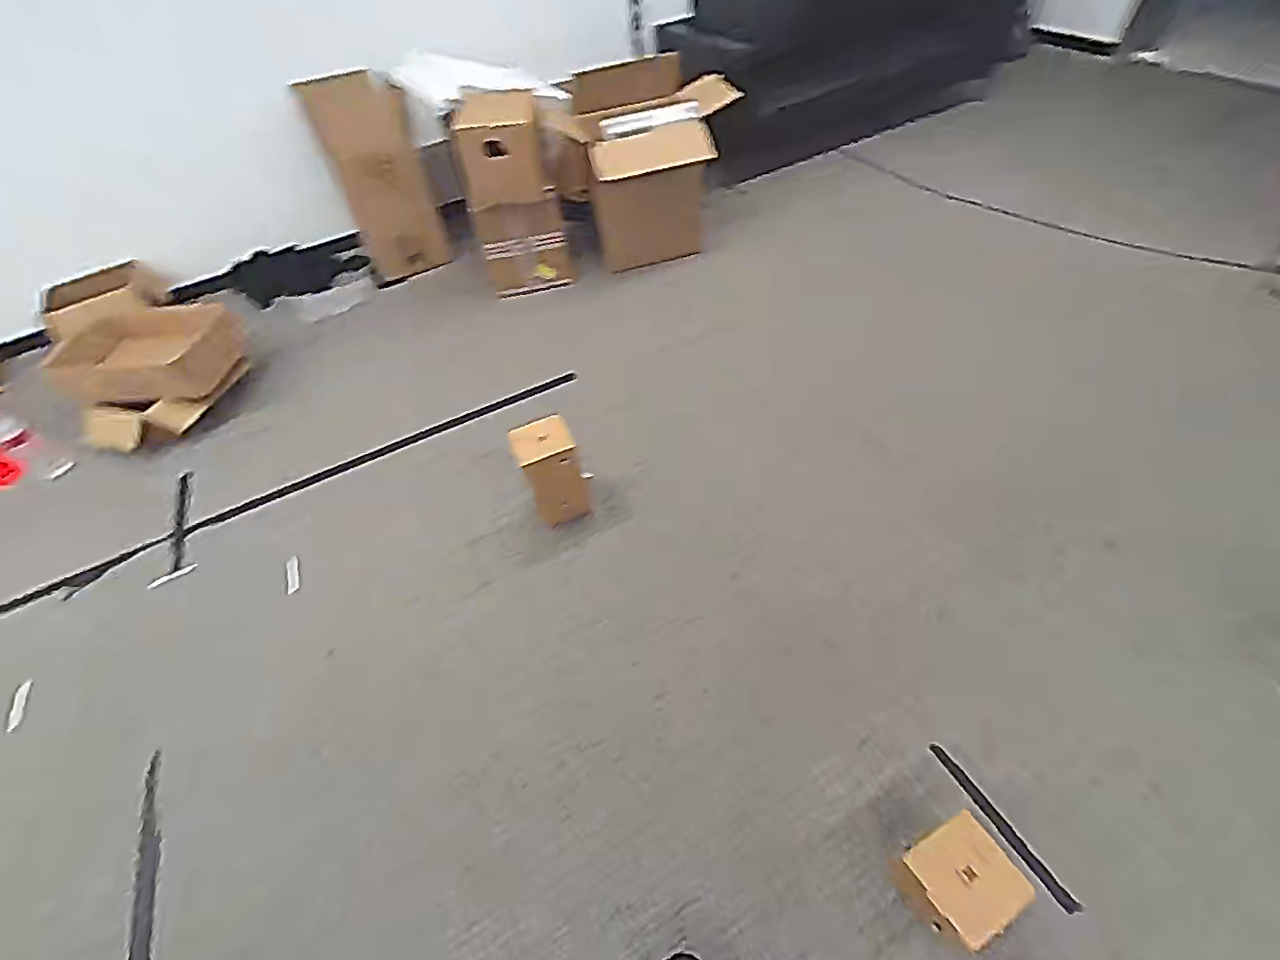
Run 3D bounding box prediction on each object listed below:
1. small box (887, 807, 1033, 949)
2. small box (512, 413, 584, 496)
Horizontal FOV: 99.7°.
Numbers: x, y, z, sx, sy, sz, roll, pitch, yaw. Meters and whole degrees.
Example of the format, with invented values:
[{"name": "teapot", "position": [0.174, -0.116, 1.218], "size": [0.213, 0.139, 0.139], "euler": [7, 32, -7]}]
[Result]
[{"name": "small box", "position": [0.633, 0.809, 1.100], "size": [0.179, 0.176, 0.168], "euler": [-26, 53, -15]}, {"name": "small box", "position": [-0.287, -0.080, 1.726], "size": [0.179, 0.176, 0.168], "euler": [-22, 51, -10]}]
